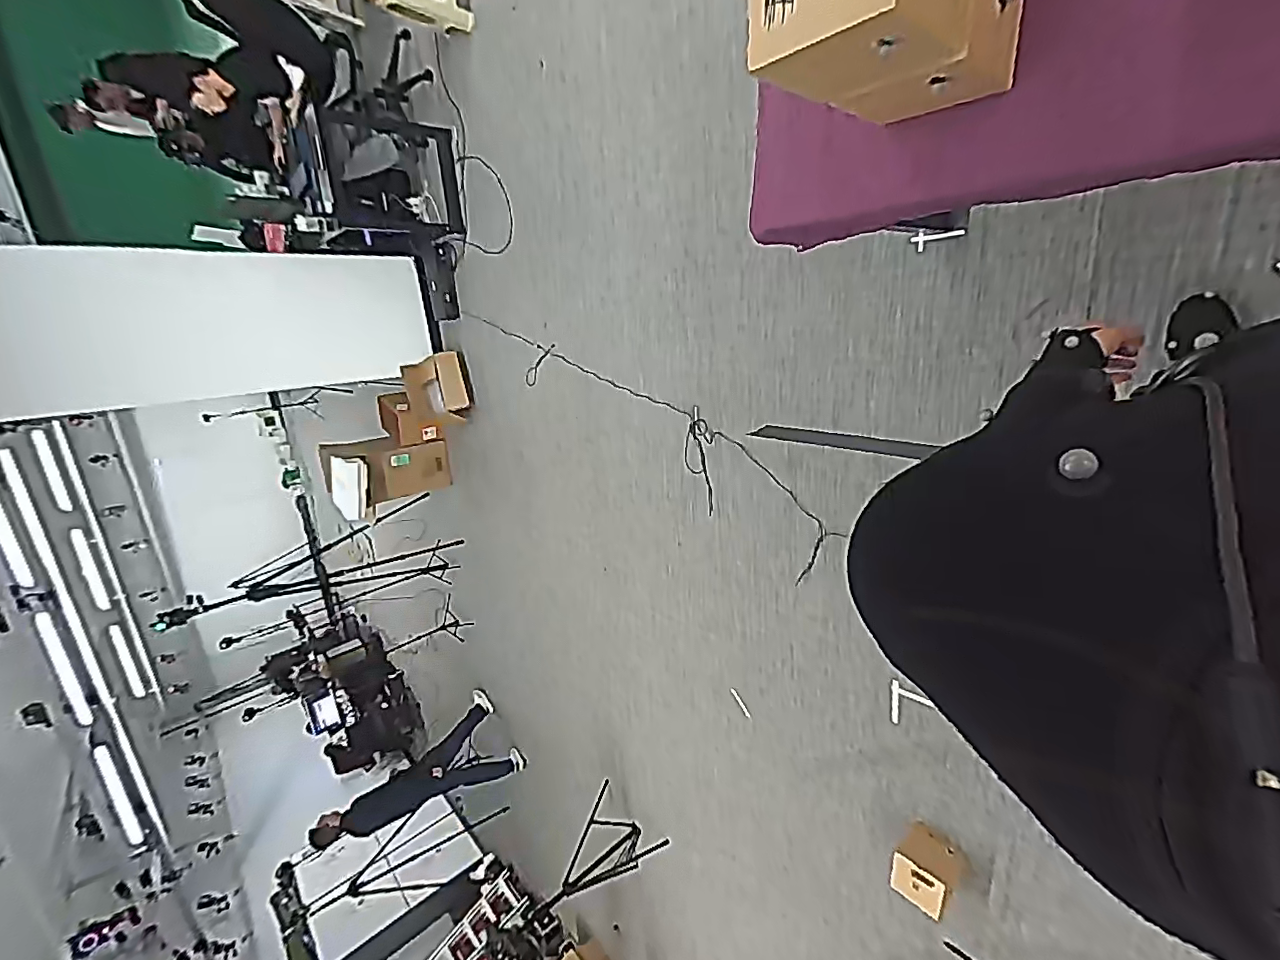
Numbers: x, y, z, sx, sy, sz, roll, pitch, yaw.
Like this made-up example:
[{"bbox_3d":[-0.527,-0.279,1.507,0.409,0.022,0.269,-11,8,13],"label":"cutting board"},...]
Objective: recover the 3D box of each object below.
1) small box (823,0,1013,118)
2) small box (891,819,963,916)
[{"bbox_3d":[0.360,-0.591,0.694,0.179,0.176,0.168,17,117,45],"label":"small box"},{"bbox_3d":[1.001,1.340,1.884,0.168,0.176,0.179,19,119,46],"label":"small box"}]
